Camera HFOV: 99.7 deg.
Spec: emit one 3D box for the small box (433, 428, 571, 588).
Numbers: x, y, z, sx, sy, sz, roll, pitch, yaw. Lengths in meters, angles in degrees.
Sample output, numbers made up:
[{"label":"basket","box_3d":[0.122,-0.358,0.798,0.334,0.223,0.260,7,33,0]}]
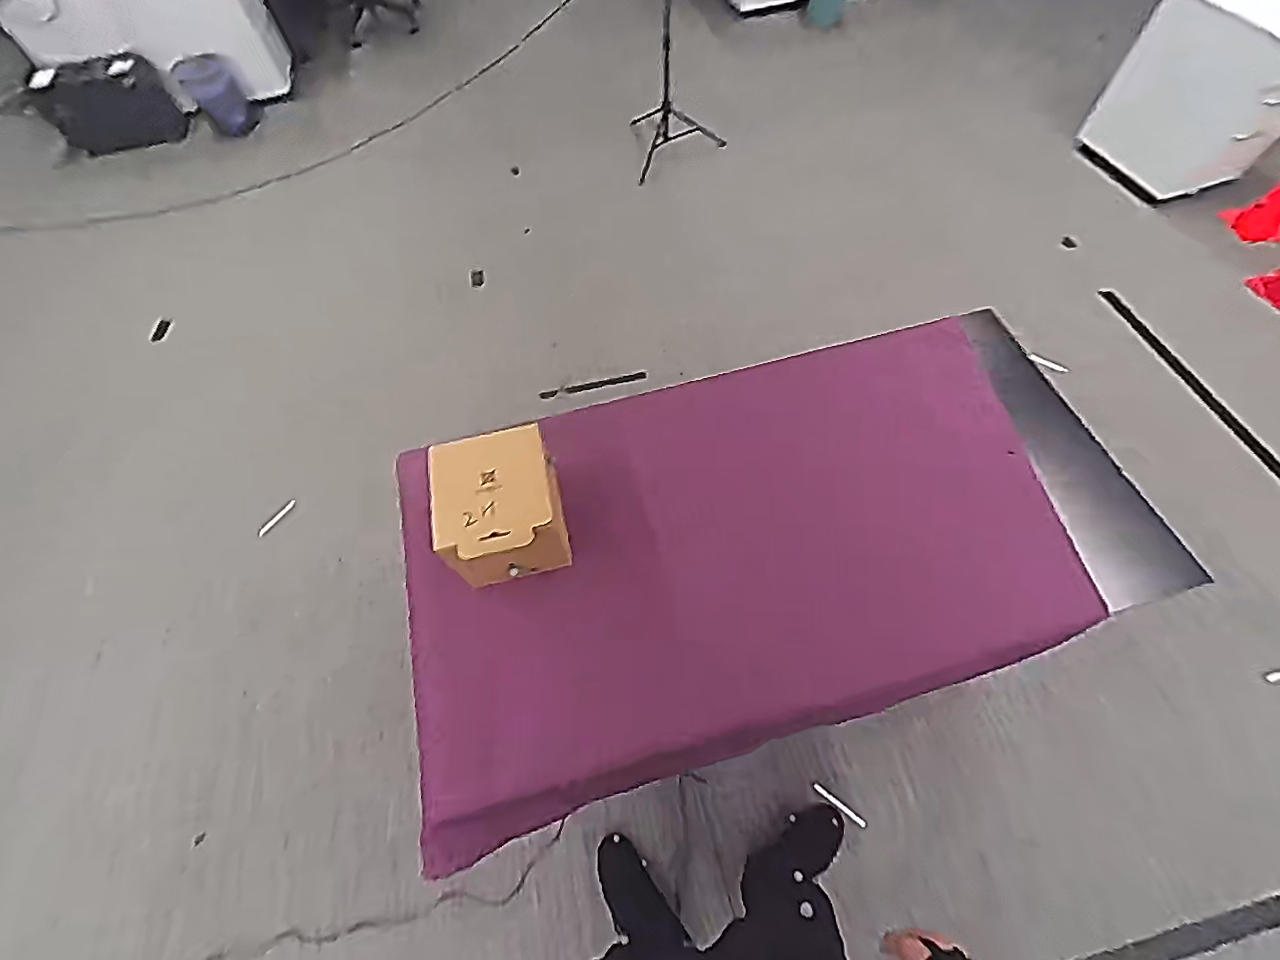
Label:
[{"label":"small box","box_3d":[-0.210,0.048,0.844,0.168,0.176,0.179,-13,62,-4]}]
